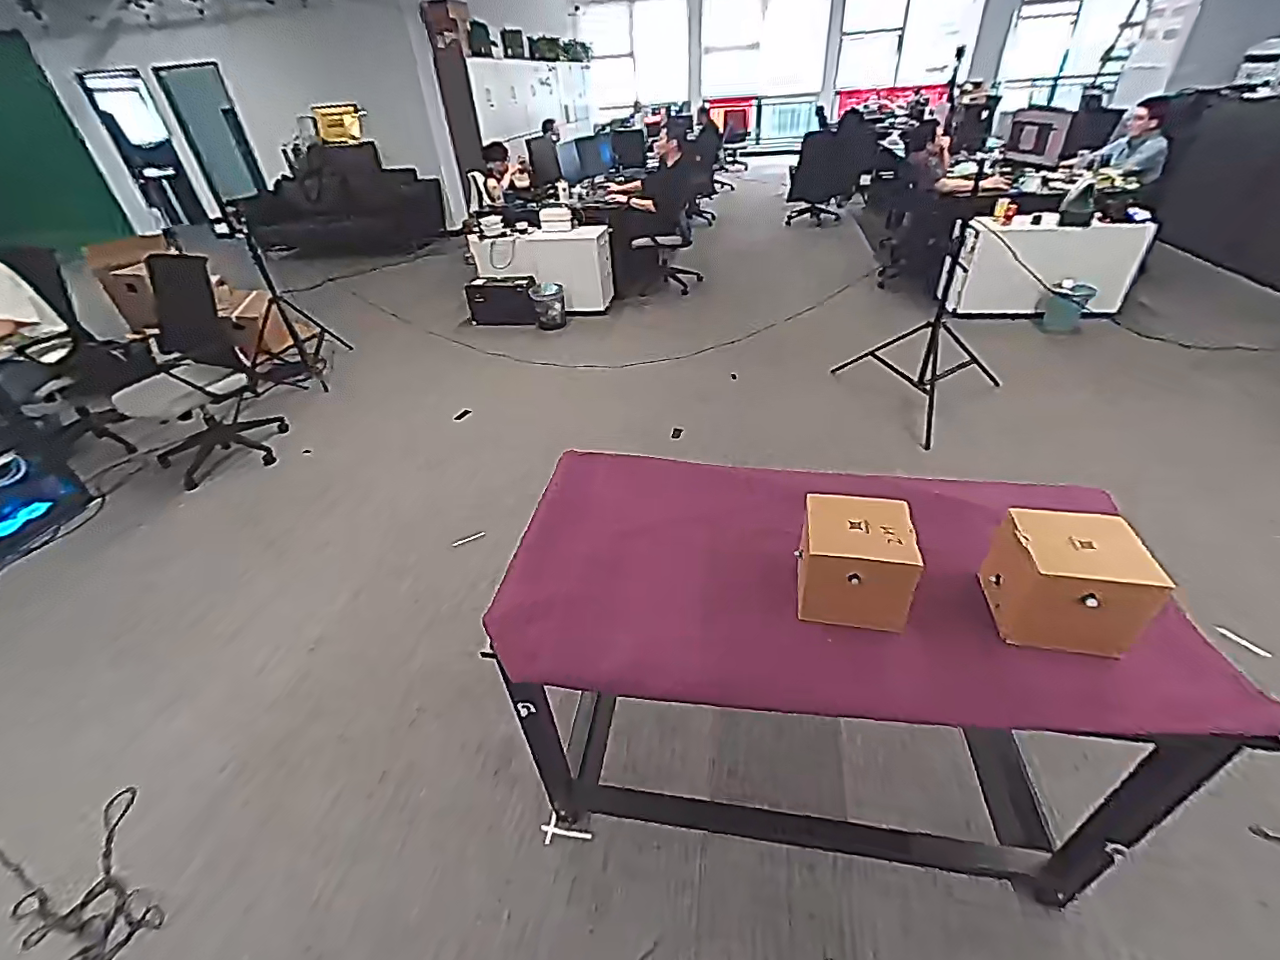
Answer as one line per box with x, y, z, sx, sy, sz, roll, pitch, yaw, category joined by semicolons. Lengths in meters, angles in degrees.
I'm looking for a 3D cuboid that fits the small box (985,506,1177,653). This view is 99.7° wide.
0.715;0.166;0.905;0.179;0.176;0.168;4;36;14;small box

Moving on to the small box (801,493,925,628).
0.387;0.144;0.972;0.179;0.176;0.168;5;38;13;small box
